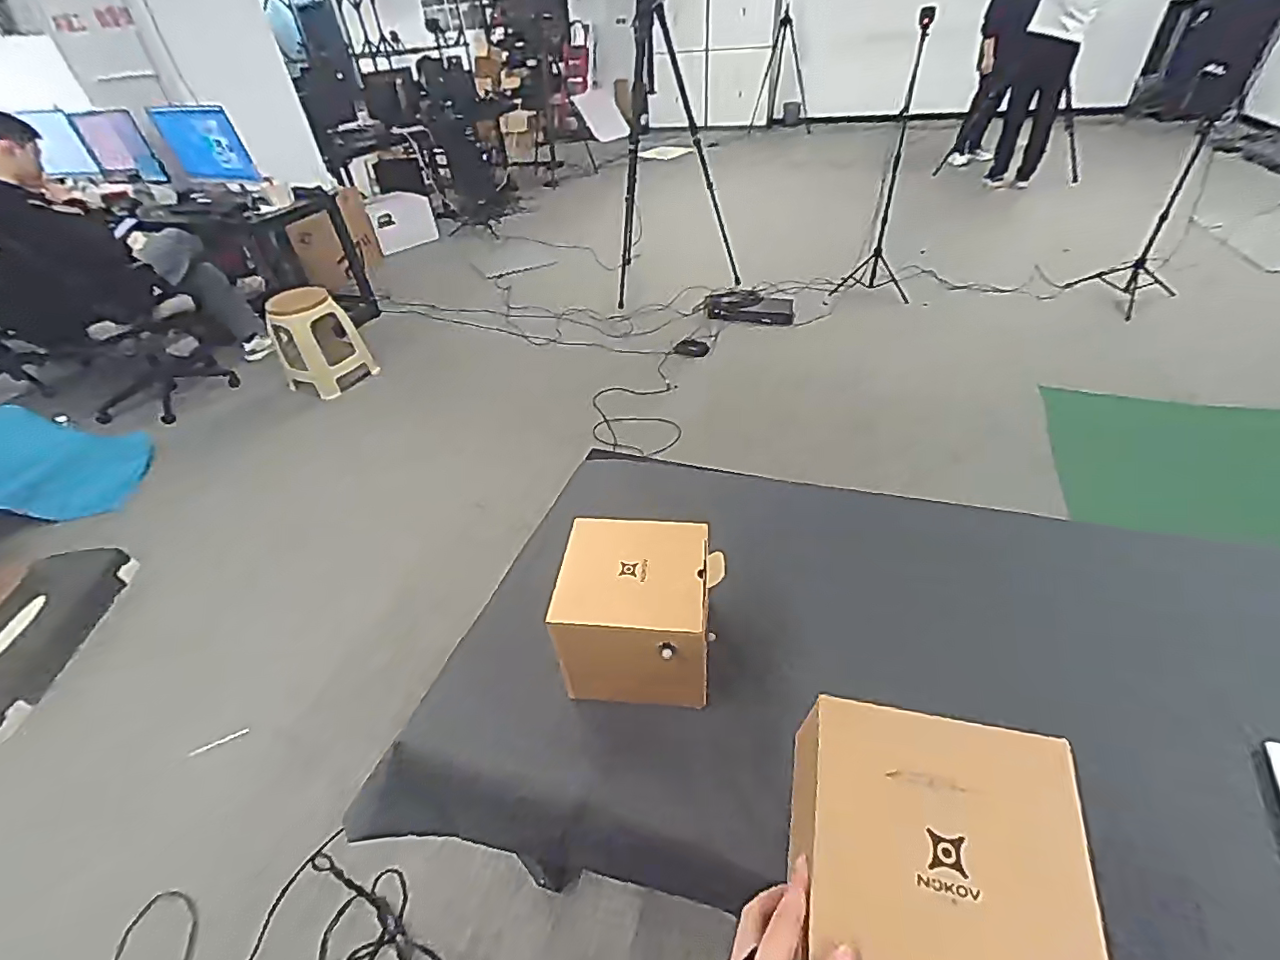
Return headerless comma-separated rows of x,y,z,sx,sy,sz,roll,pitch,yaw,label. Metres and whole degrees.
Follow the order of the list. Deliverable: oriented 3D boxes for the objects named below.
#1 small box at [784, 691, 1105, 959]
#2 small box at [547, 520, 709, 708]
0.203,0.283,0.408,0.168,0.176,0.179,6,57,12,small box
-0.003,0.170,0.689,0.179,0.176,0.168,2,40,7,small box
